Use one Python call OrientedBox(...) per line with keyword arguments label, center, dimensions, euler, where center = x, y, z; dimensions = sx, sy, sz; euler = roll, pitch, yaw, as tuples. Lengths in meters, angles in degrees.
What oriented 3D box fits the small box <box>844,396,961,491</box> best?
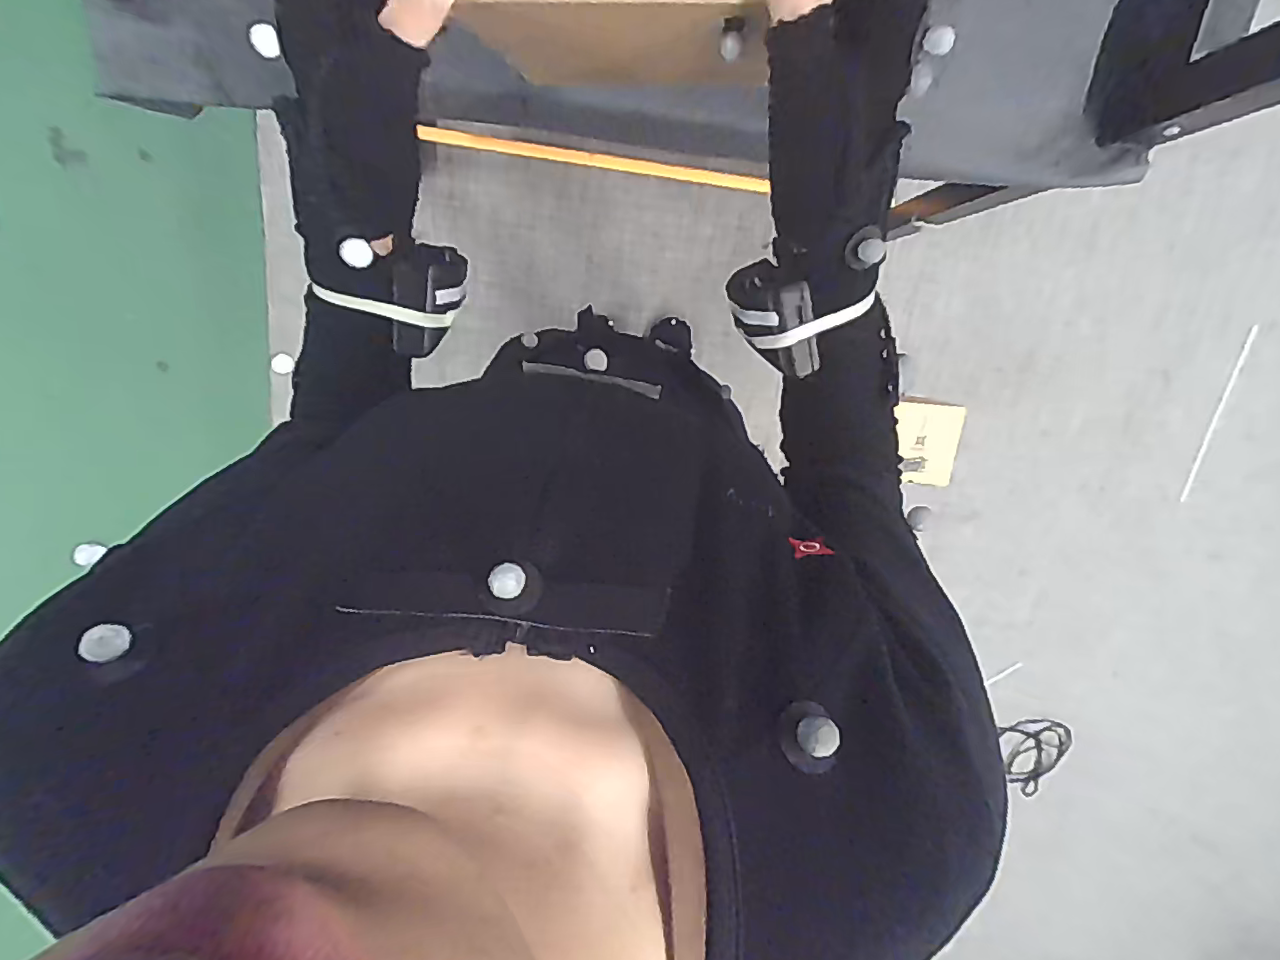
OrientedBox(label="small box", center=(0.579, -0.086, 1.219), dimensions=(0.168, 0.176, 0.179), euler=(5, 104, -2))
